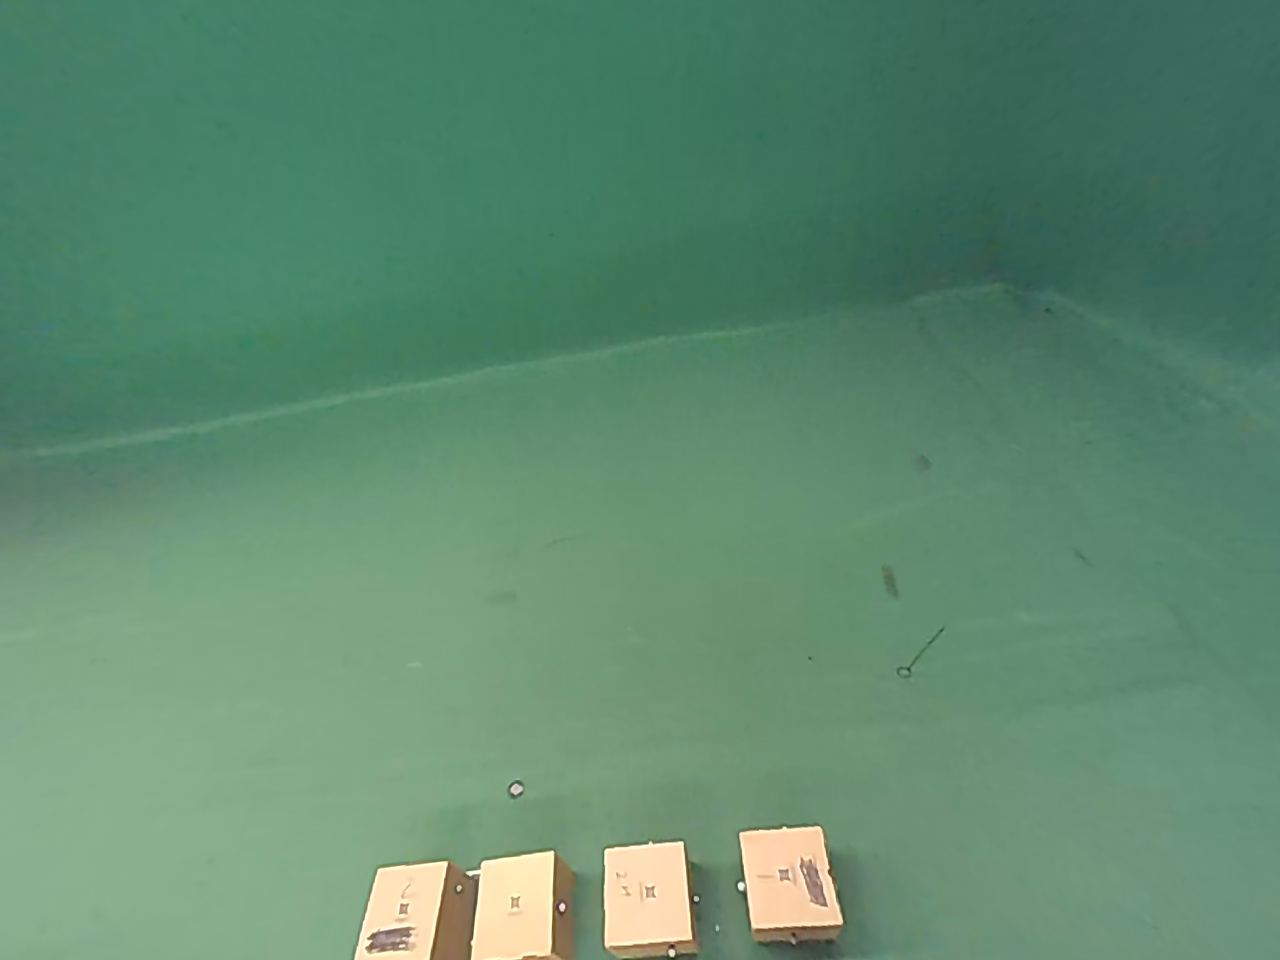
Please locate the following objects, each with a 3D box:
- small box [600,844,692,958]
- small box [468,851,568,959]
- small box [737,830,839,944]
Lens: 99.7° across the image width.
[{"bbox_3d":[0.017,0.900,1.155,0.179,0.176,0.168,-7,42,4],"label":"small box"},{"bbox_3d":[-0.255,0.939,1.174,0.168,0.176,0.179,-9,43,2],"label":"small box"},{"bbox_3d":[0.302,0.859,1.141,0.179,0.176,0.168,-7,42,6],"label":"small box"}]
